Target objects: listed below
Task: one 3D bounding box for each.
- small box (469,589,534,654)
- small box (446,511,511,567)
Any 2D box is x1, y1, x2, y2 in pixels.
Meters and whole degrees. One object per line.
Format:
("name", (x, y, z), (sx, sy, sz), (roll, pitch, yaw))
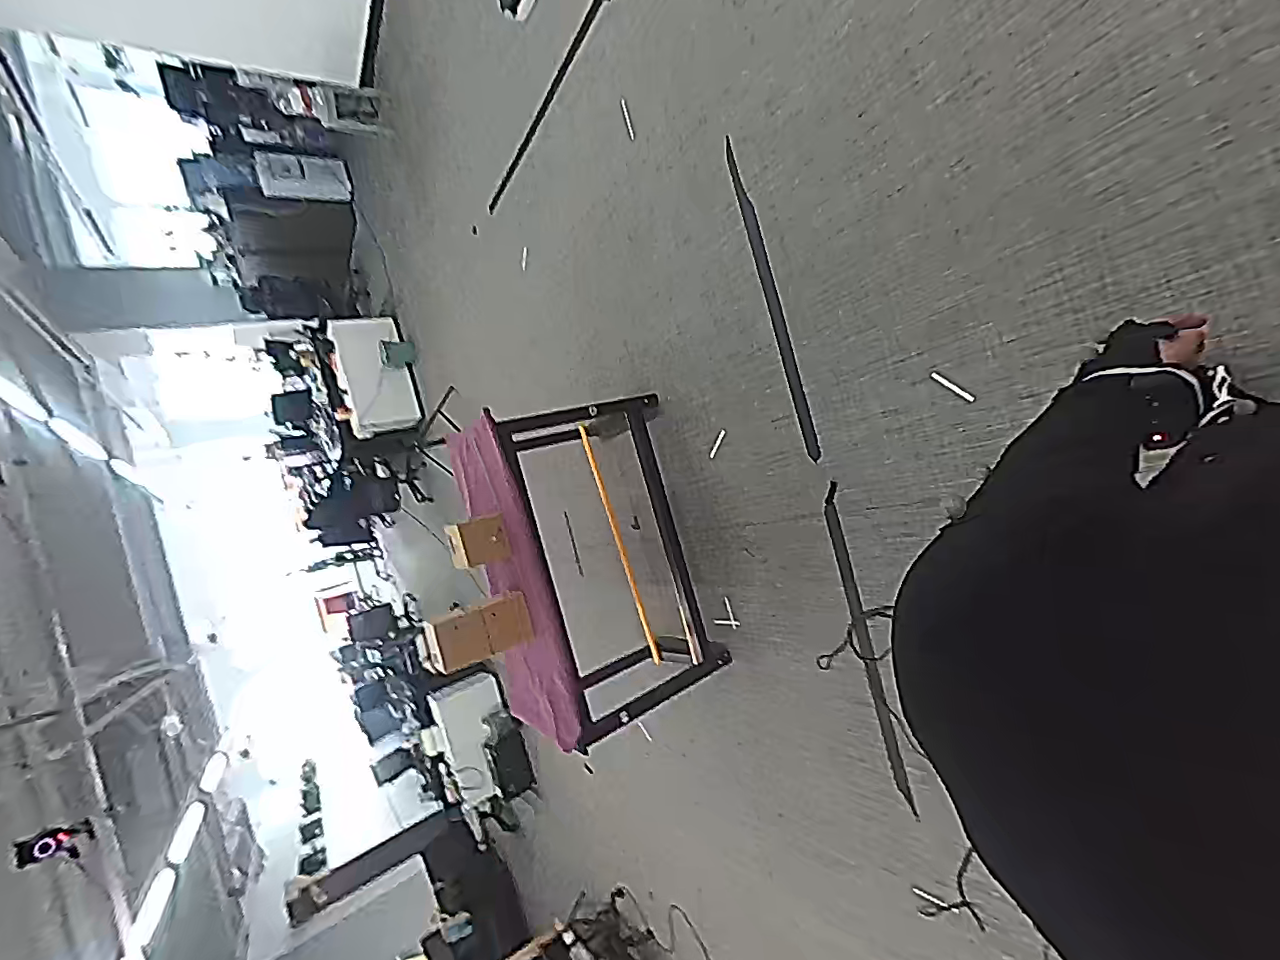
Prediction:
("small box", (-0.508, 0.517, 1.996), (0.168, 0.176, 0.179), (-16, 90, 57))
("small box", (-0.596, 0.216, 1.997), (0.179, 0.176, 0.168), (-13, 93, 56))
